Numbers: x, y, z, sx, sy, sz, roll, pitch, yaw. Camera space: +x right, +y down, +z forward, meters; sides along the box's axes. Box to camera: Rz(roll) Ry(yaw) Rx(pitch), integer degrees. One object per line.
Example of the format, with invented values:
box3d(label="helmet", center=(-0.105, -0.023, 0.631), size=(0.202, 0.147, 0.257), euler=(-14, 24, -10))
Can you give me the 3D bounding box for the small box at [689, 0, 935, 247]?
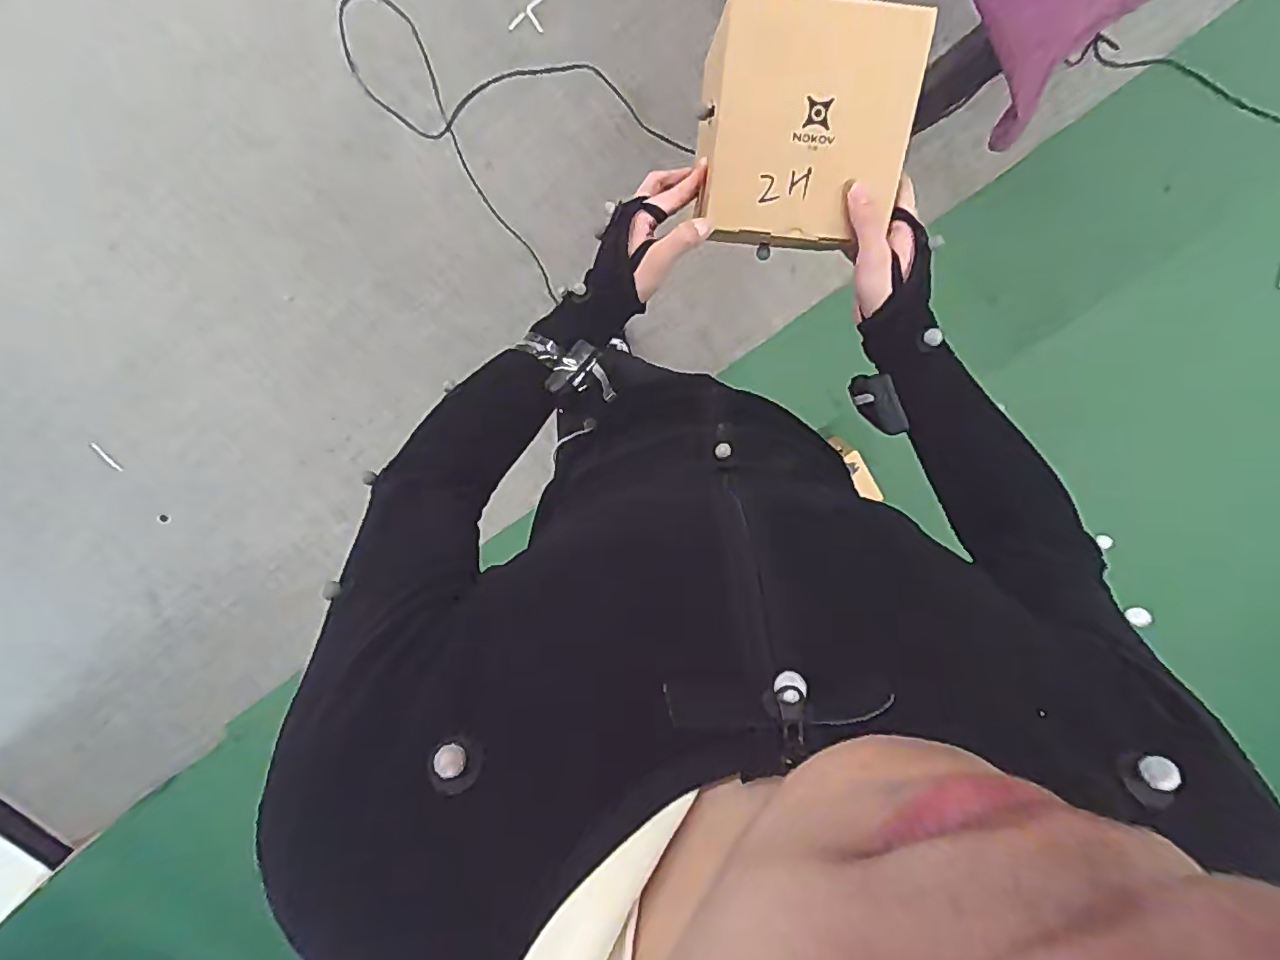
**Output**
box3d(label="small box", center=(0.141, -0.329, 0.520), size=(0.168, 0.176, 0.179), euler=(5, 112, -2))
